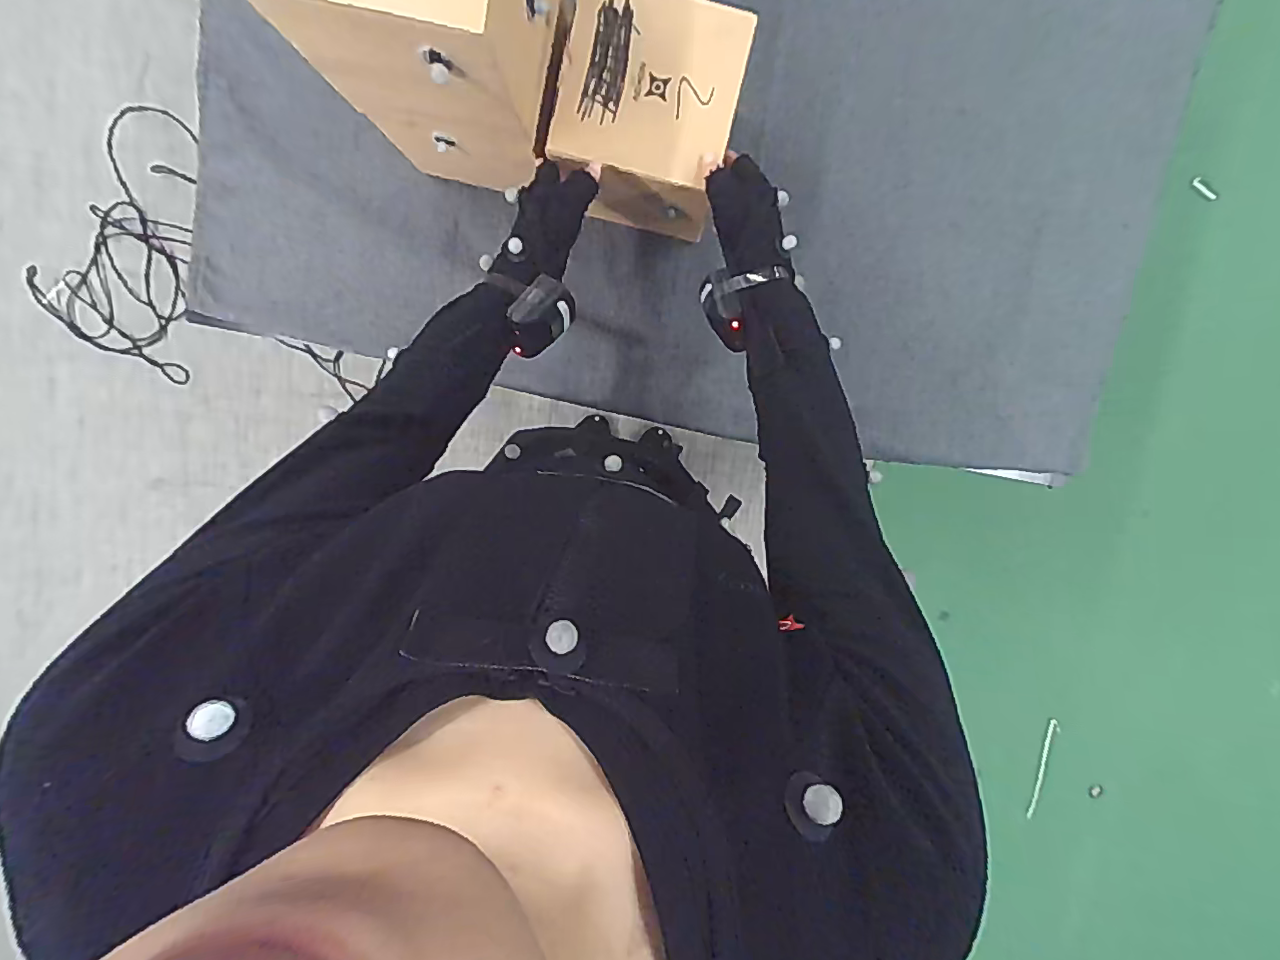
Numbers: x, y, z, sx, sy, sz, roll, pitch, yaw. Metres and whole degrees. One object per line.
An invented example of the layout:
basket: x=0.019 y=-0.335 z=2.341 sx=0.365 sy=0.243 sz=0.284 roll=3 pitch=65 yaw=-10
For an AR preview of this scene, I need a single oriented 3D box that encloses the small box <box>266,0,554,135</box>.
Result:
small box: x=-0.171 y=-0.416 z=0.439 sx=0.179 sy=0.176 sz=0.168 roll=11 pitch=97 yaw=-2
